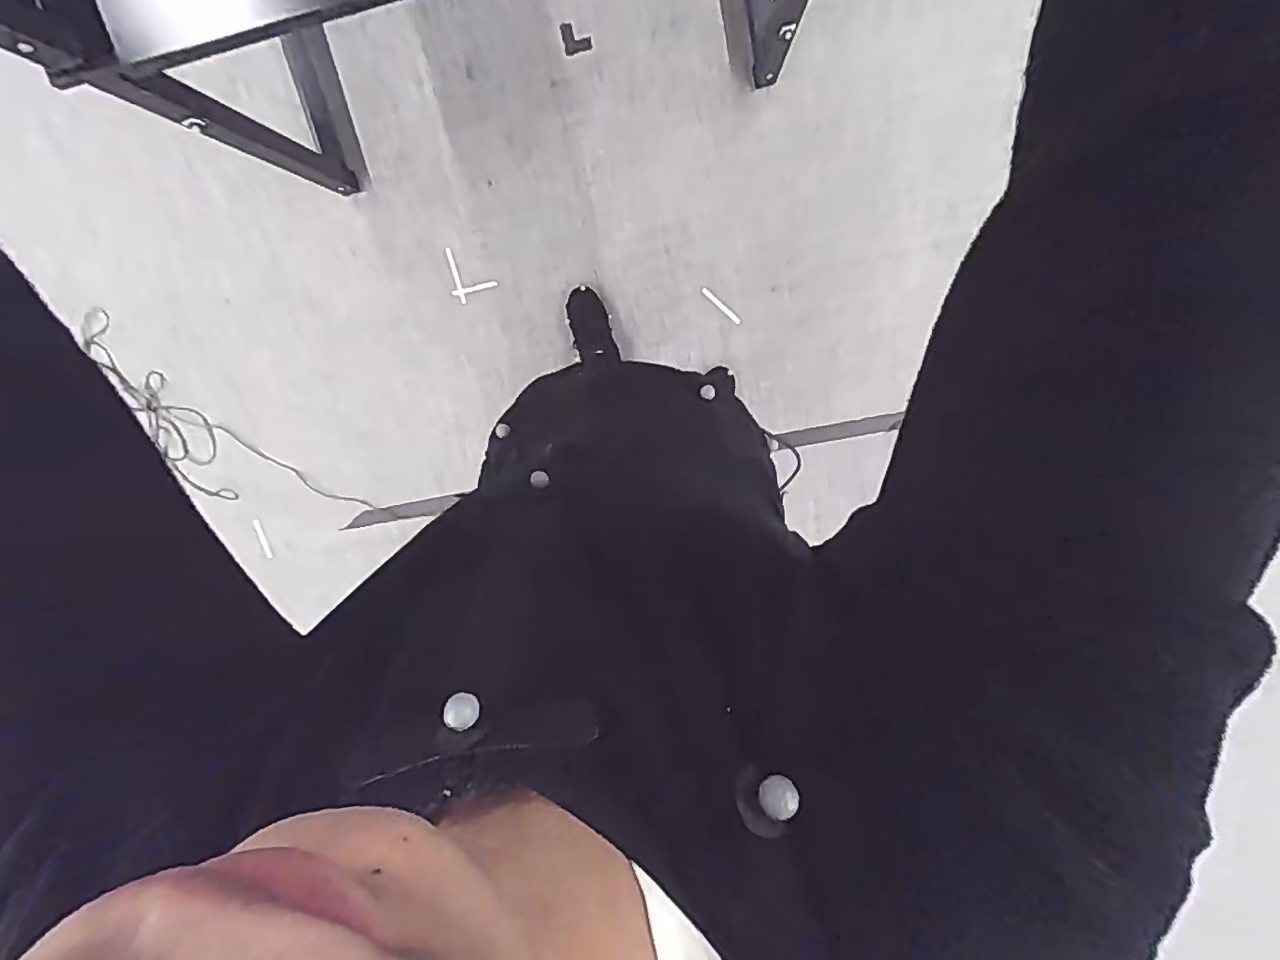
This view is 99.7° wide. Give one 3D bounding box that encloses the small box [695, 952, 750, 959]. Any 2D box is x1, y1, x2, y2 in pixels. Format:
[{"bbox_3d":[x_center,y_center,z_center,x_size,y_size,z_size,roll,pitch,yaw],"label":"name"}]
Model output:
[{"bbox_3d":[0.249,1.481,1.517,0.168,0.176,0.179,-9,104,4],"label":"small box"}]
